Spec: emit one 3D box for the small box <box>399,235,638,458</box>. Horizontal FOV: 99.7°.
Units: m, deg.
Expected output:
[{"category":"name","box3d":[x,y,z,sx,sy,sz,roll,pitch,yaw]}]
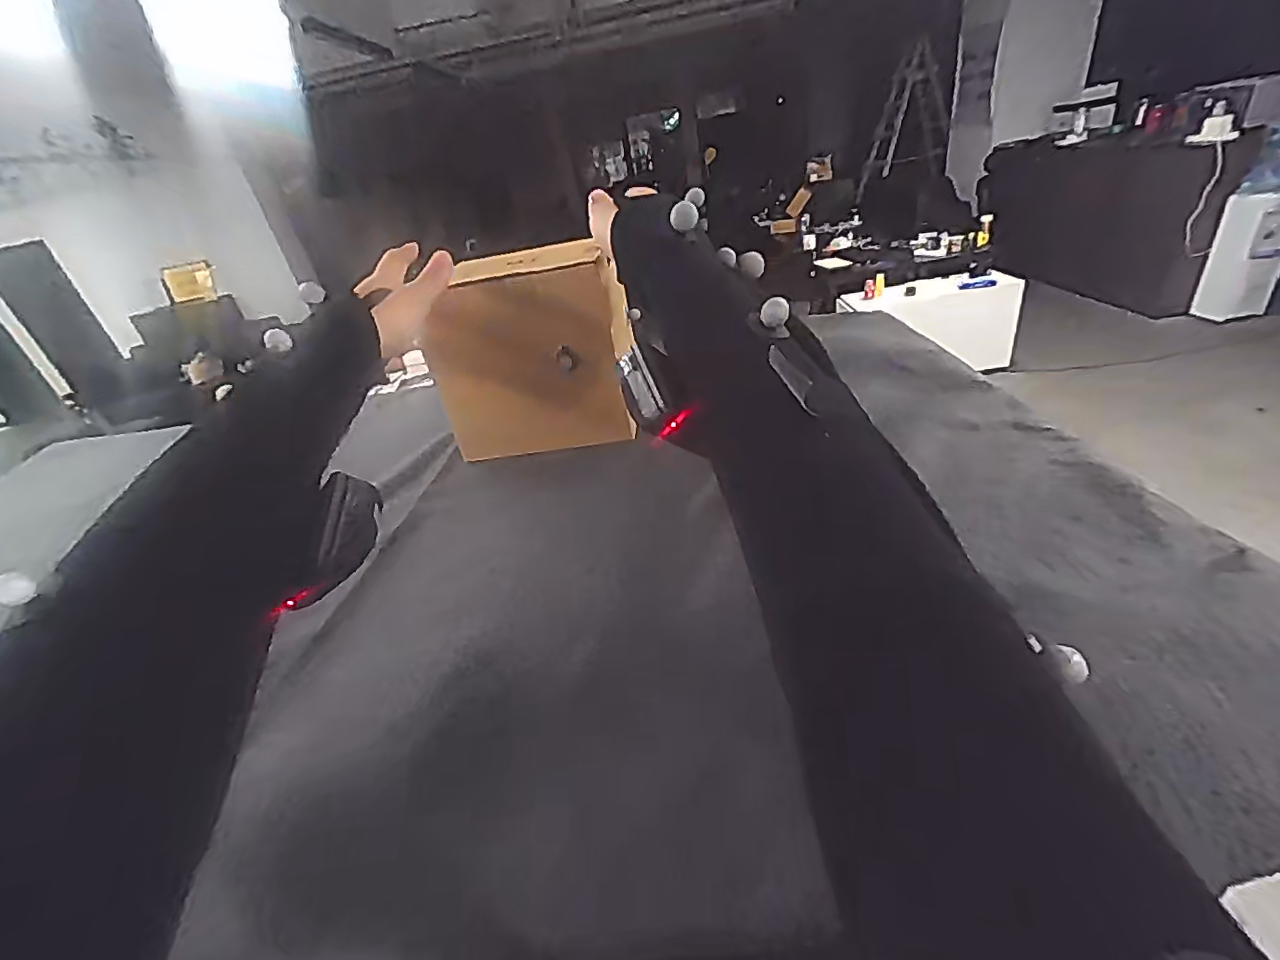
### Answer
[{"category":"small box","box3d":[-0.102,-0.138,0.554,0.179,0.176,0.168,-7,29,8]}]
